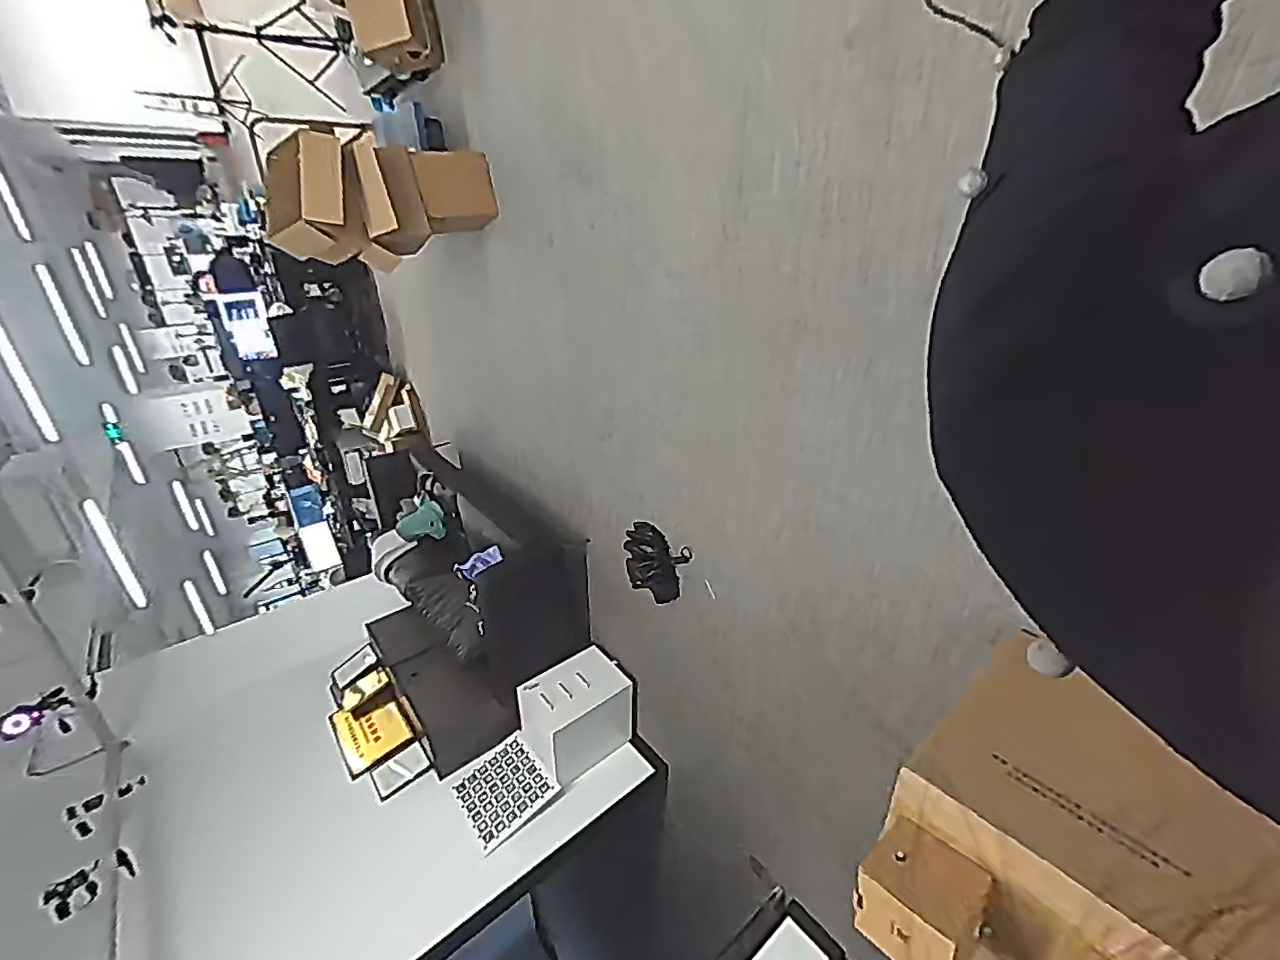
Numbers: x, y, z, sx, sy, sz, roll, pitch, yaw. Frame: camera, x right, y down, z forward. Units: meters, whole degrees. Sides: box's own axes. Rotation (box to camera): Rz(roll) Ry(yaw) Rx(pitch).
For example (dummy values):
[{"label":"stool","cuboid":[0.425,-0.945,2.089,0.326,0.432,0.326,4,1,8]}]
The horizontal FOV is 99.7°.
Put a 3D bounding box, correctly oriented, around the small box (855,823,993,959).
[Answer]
[{"label":"small box","cuboid":[0.538,0.801,1.031,0.179,0.176,0.168,16,118,49]}]
